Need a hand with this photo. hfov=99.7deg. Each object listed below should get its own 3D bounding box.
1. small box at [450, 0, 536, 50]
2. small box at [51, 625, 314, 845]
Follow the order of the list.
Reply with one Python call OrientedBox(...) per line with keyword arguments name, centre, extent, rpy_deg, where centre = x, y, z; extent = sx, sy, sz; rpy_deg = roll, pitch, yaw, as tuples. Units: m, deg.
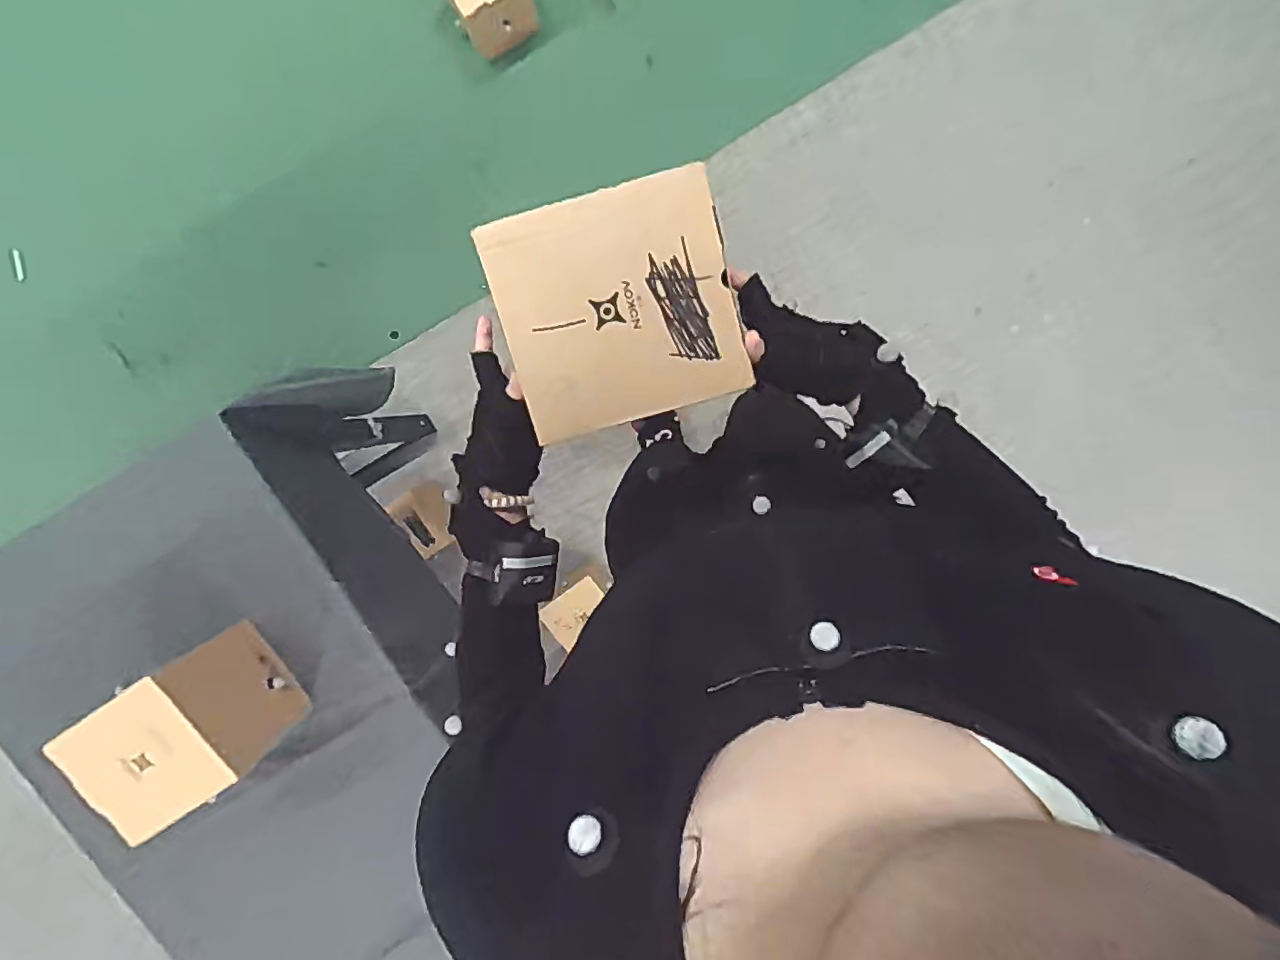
OrientedBox(name="small box", centre=(-0.360, -1.138, 1.234), extent=(0.168, 0.176, 0.179), rpy_deg=(-31, 98, 5))
OrientedBox(name="small box", centre=(-0.598, 0.332, 0.734), extent=(0.179, 0.176, 0.168), rpy_deg=(-33, 98, 6))
